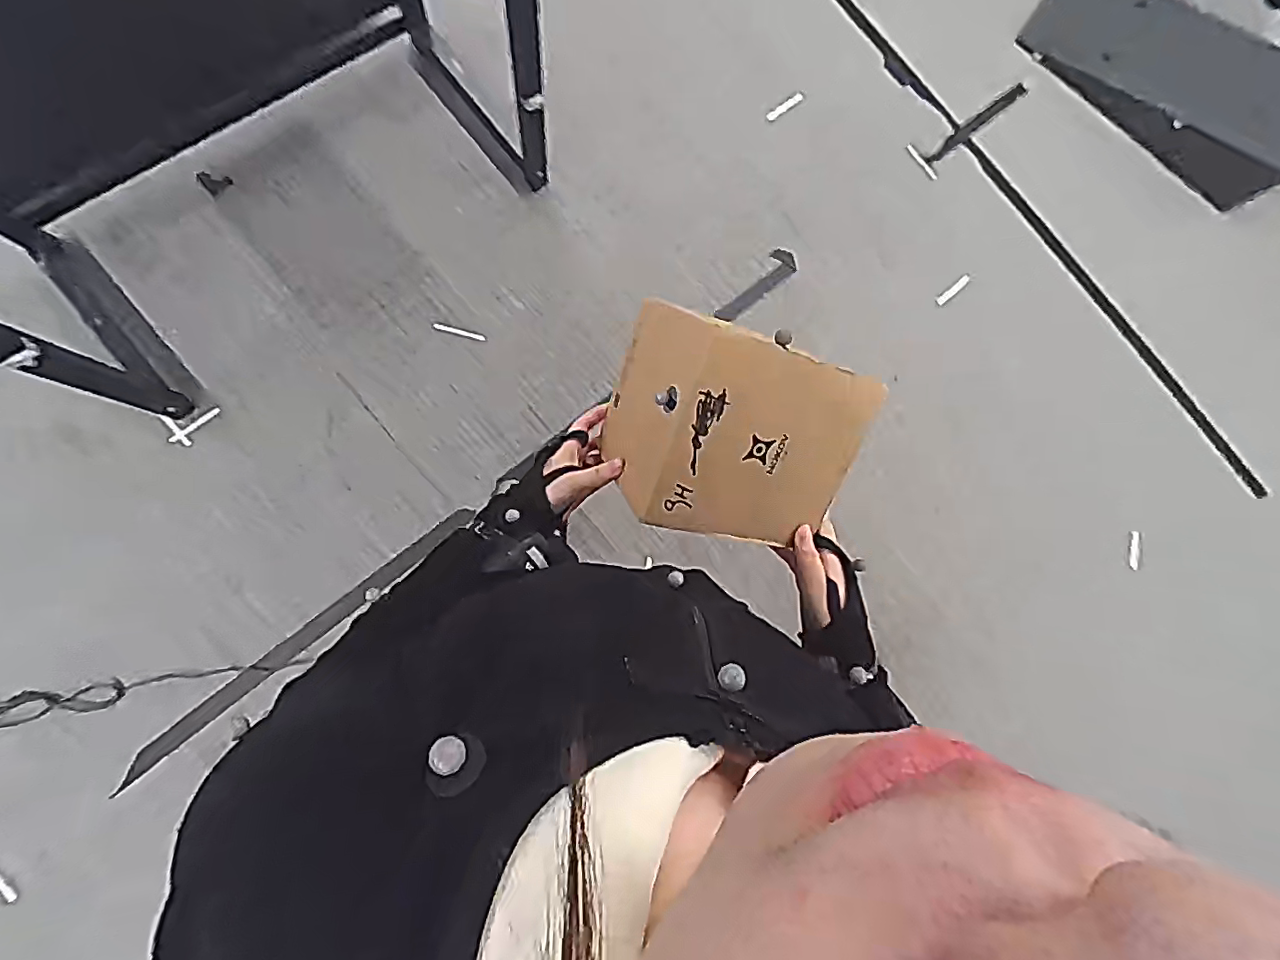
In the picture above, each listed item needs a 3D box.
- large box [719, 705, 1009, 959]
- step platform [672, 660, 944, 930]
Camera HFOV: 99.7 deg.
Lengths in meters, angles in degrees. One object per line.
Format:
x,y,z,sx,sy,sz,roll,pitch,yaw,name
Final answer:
0.444,0.763,1.146,0.408,0.320,0.320,-35,89,-12,large box
0.430,0.774,1.385,0.684,0.204,0.286,-33,88,-11,step platform
